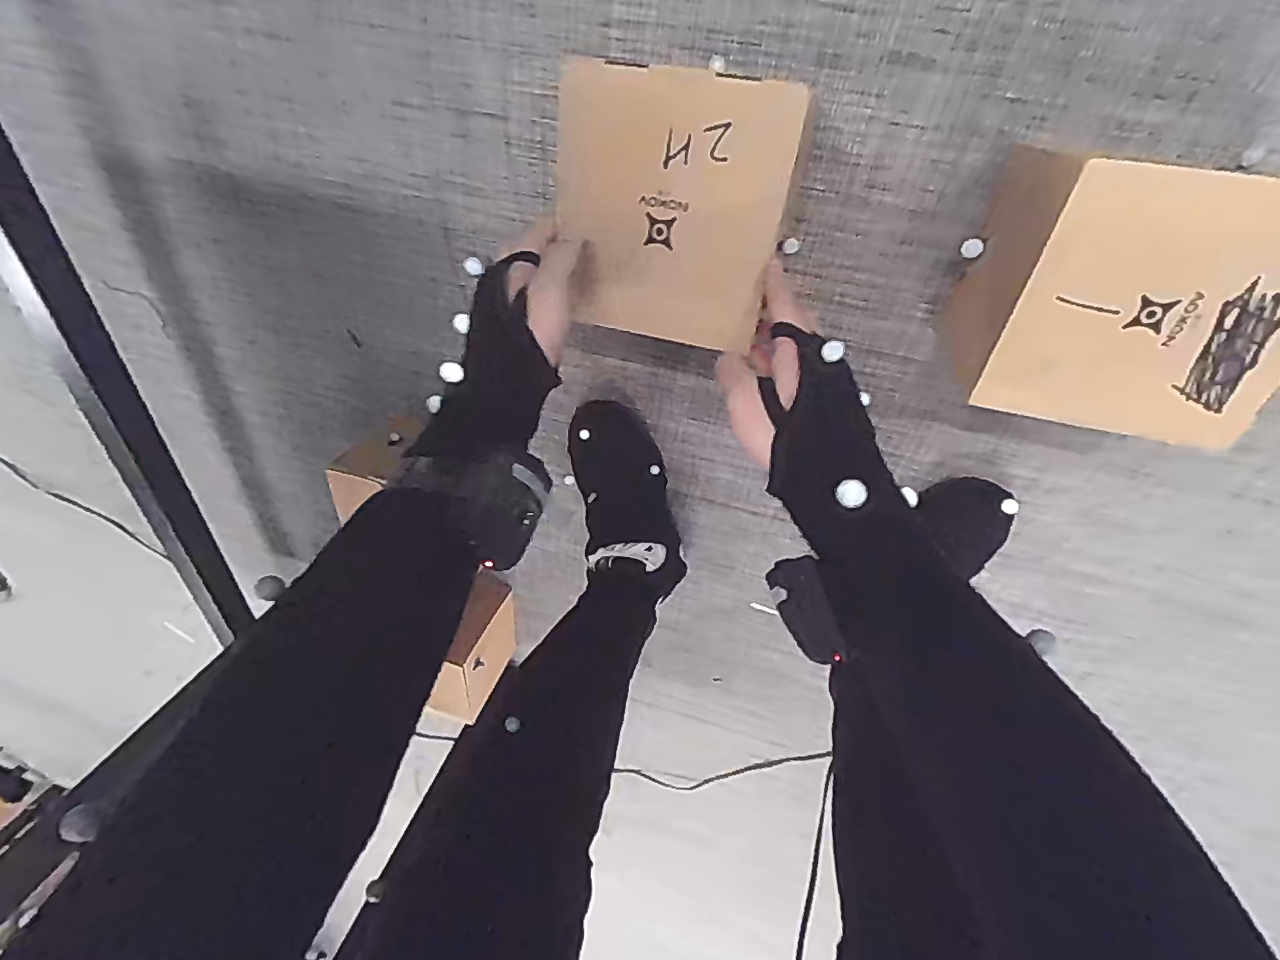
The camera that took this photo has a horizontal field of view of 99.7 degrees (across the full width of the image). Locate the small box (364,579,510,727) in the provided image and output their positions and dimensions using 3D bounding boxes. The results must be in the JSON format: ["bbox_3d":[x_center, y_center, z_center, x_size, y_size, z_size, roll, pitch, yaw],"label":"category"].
[{"bbox_3d":[-0.336,0.285,0.937,0.168,0.176,0.179,13,126,10],"label":"small box"}]

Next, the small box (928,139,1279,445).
[{"bbox_3d":[0.347,-0.152,0.409,0.179,0.176,0.168,14,126,10],"label":"small box"}]
